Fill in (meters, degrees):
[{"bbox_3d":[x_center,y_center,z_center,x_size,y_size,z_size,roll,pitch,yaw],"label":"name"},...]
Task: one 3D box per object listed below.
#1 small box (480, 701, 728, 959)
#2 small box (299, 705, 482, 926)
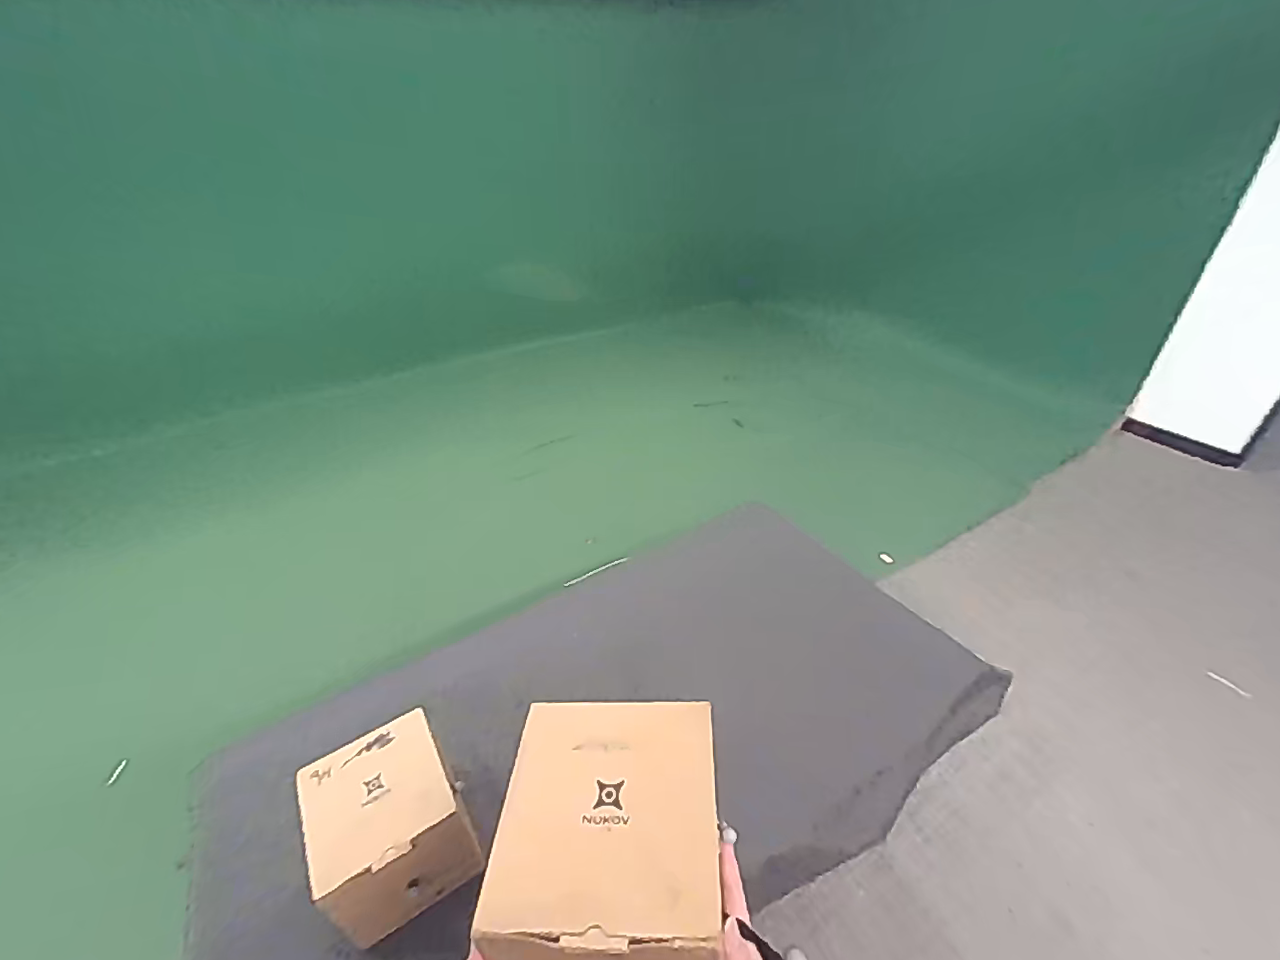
[{"bbox_3d":[-0.013,0.314,0.456,0.168,0.176,0.179,-2,30,5],"label":"small box"},{"bbox_3d":[-0.332,0.455,0.733,0.168,0.176,0.179,-22,41,-26],"label":"small box"}]
